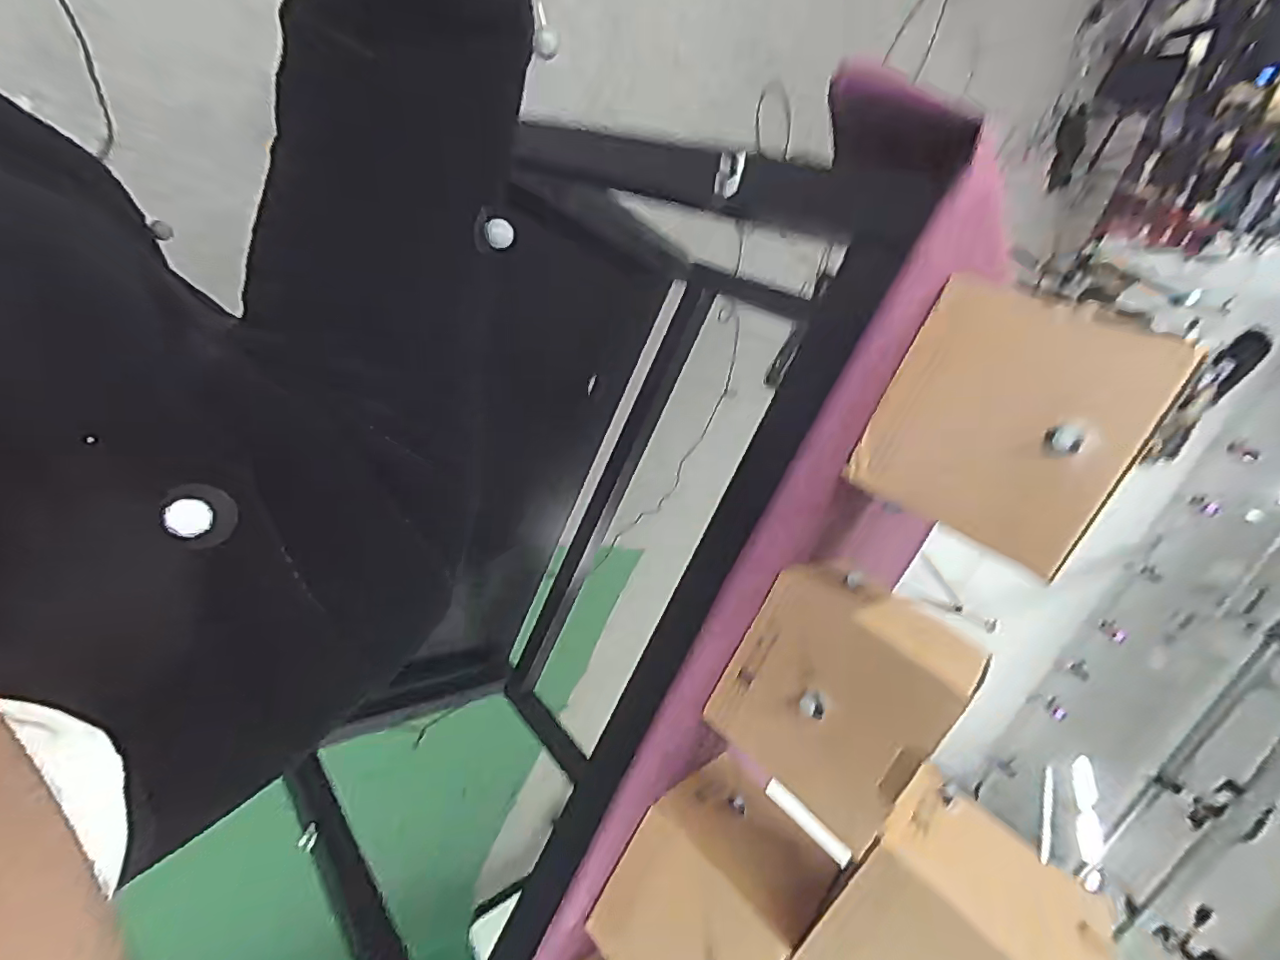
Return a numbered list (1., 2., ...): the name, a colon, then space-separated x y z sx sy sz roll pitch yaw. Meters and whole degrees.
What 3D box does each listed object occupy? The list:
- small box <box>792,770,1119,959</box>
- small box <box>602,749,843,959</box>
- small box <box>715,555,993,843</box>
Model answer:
1. small box: 0.260 0.384 0.460 0.168 0.176 0.179 5 115 -53
2. small box: 0.085 0.434 0.579 0.168 0.176 0.179 9 109 -54
3. small box: 0.201 0.184 0.518 0.179 0.176 0.168 7 112 -53
